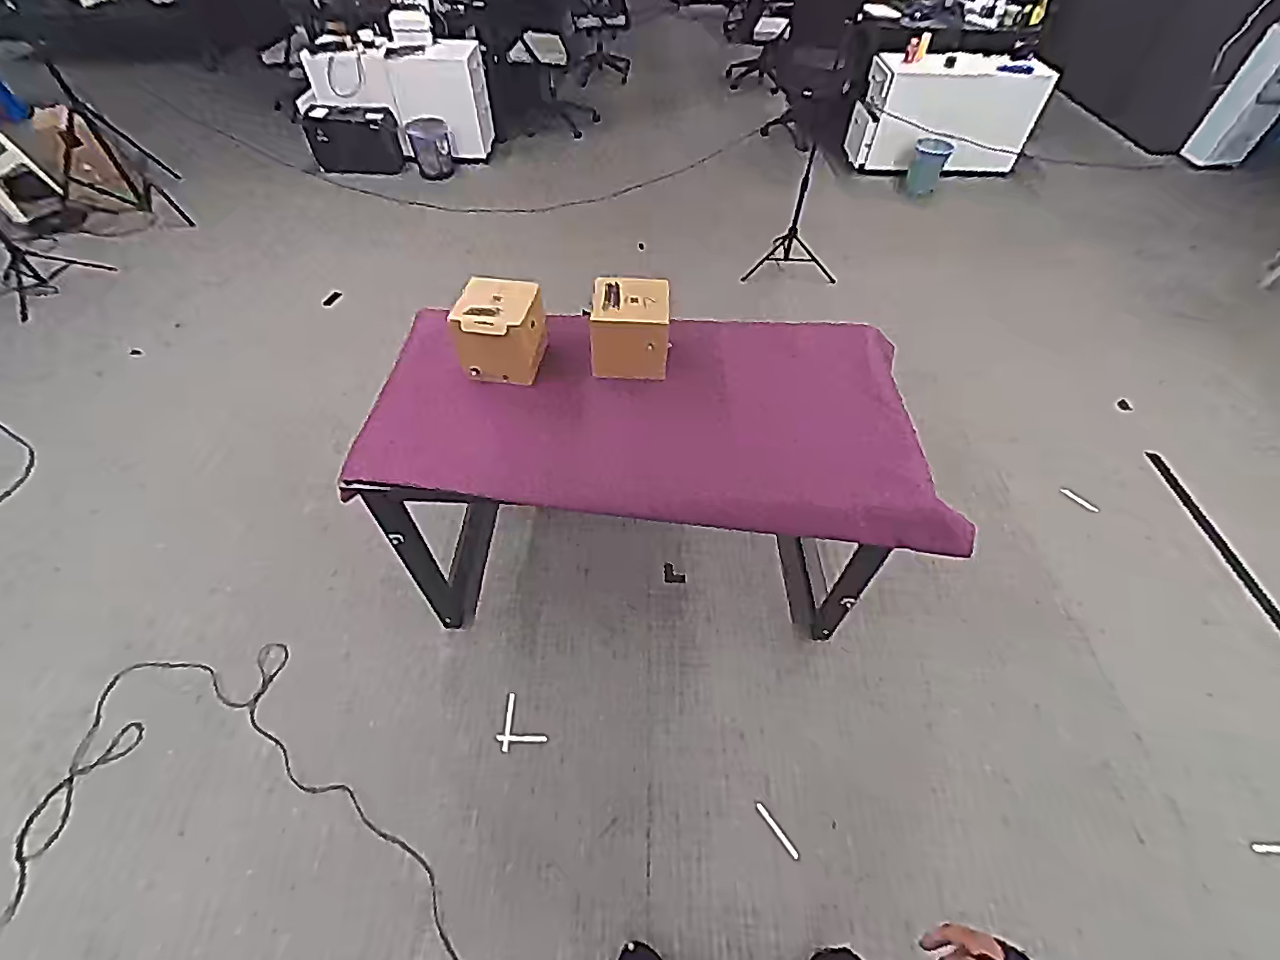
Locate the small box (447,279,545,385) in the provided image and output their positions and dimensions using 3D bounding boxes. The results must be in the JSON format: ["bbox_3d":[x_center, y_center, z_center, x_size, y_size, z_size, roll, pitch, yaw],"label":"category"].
[{"bbox_3d":[-0.327,-0.345,1.271,0.168,0.176,0.179,6,52,3],"label":"small box"}]
